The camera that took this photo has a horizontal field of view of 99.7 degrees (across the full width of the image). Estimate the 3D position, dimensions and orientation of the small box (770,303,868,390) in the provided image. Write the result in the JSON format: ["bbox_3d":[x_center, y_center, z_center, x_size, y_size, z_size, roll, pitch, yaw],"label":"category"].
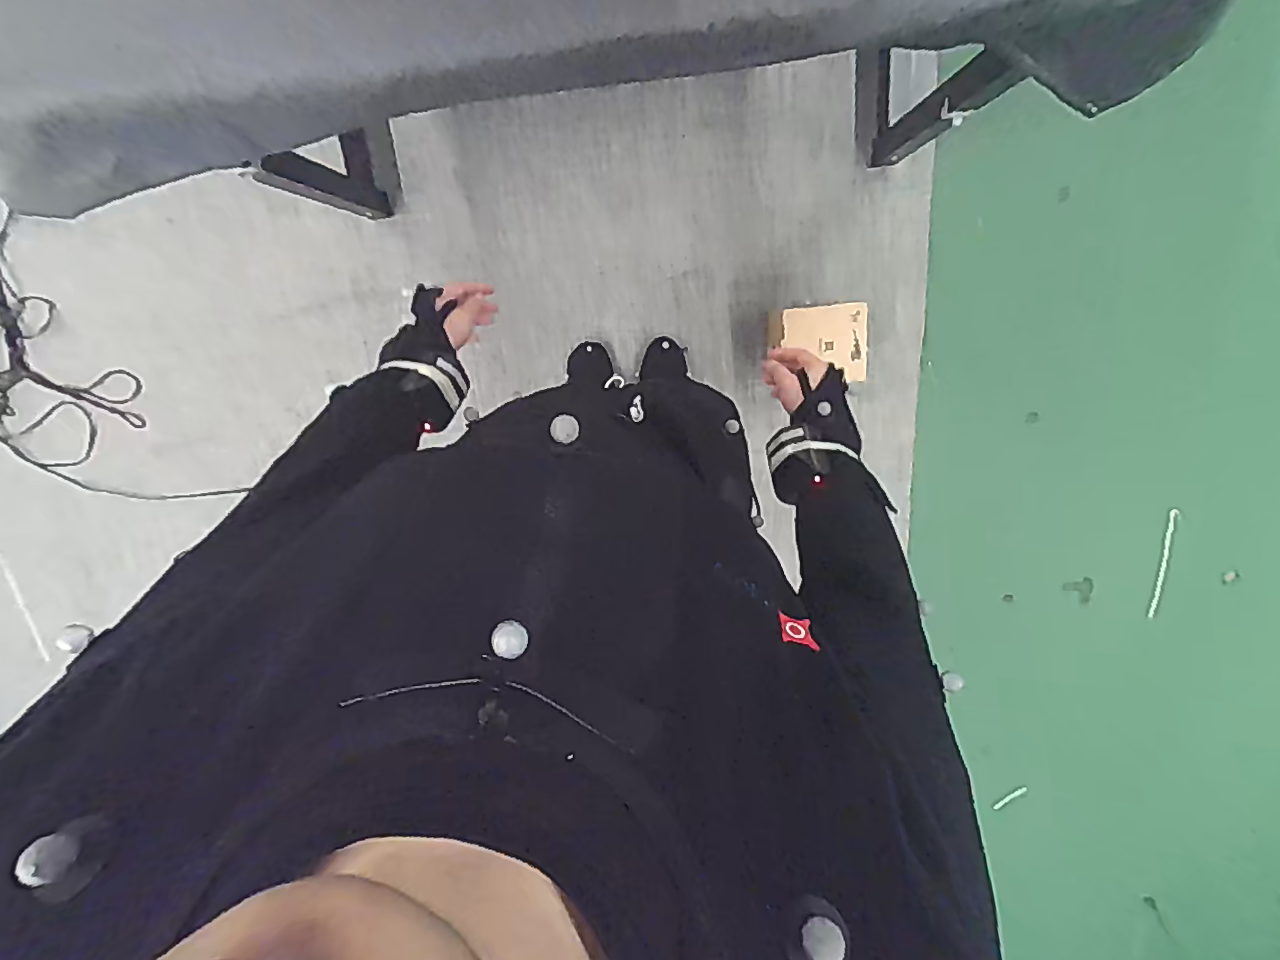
[{"bbox_3d":[0.391,-0.296,1.205,0.179,0.176,0.168,-5,105,3],"label":"small box"}]
